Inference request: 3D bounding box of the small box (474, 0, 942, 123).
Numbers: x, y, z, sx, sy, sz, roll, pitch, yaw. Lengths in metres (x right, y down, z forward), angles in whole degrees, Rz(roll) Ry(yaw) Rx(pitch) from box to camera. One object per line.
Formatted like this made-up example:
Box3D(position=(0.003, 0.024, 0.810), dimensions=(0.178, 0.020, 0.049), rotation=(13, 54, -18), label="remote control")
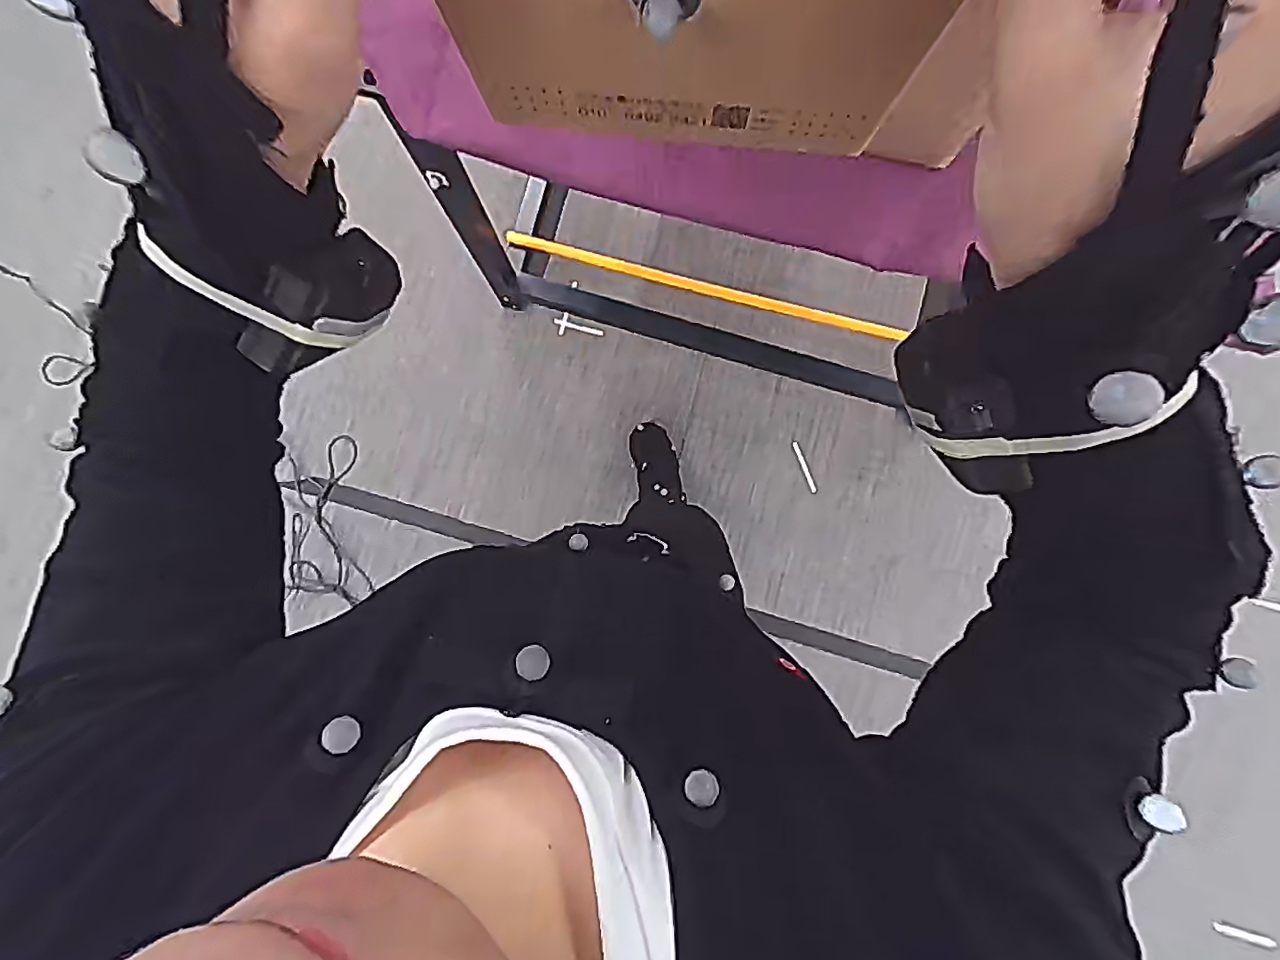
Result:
Box3D(position=(0.026, -0.237, 0.149), dimensions=(0.168, 0.176, 0.179), rotation=(6, 93, 1), label="small box")
